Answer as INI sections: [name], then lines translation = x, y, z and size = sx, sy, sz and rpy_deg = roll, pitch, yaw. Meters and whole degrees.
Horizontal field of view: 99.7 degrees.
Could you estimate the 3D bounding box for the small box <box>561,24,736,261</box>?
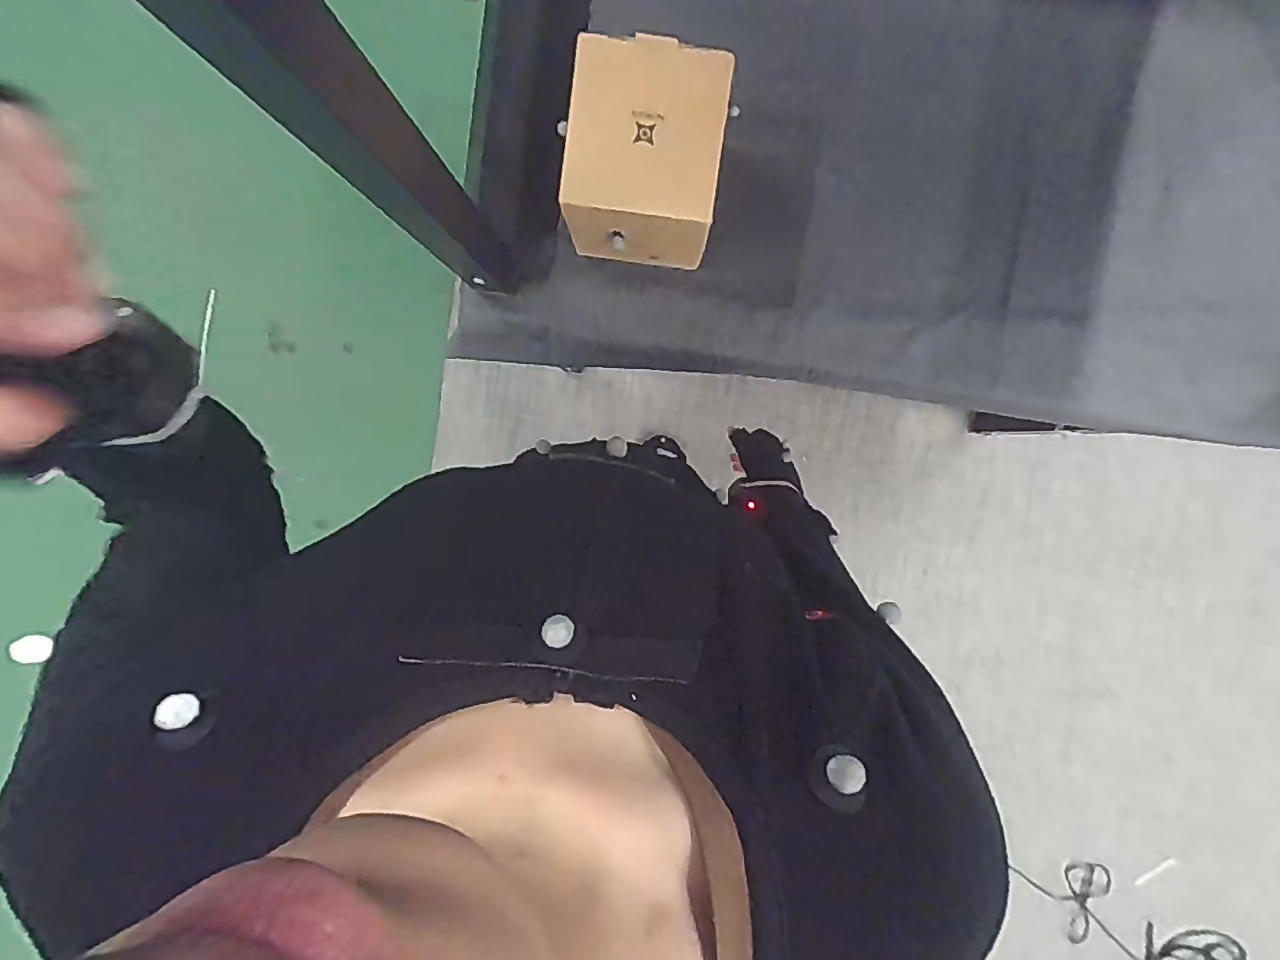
[small box]
translation = 0.010, -0.376, 0.637
size = 0.168, 0.176, 0.179
rpy_deg = 7, 94, 0
